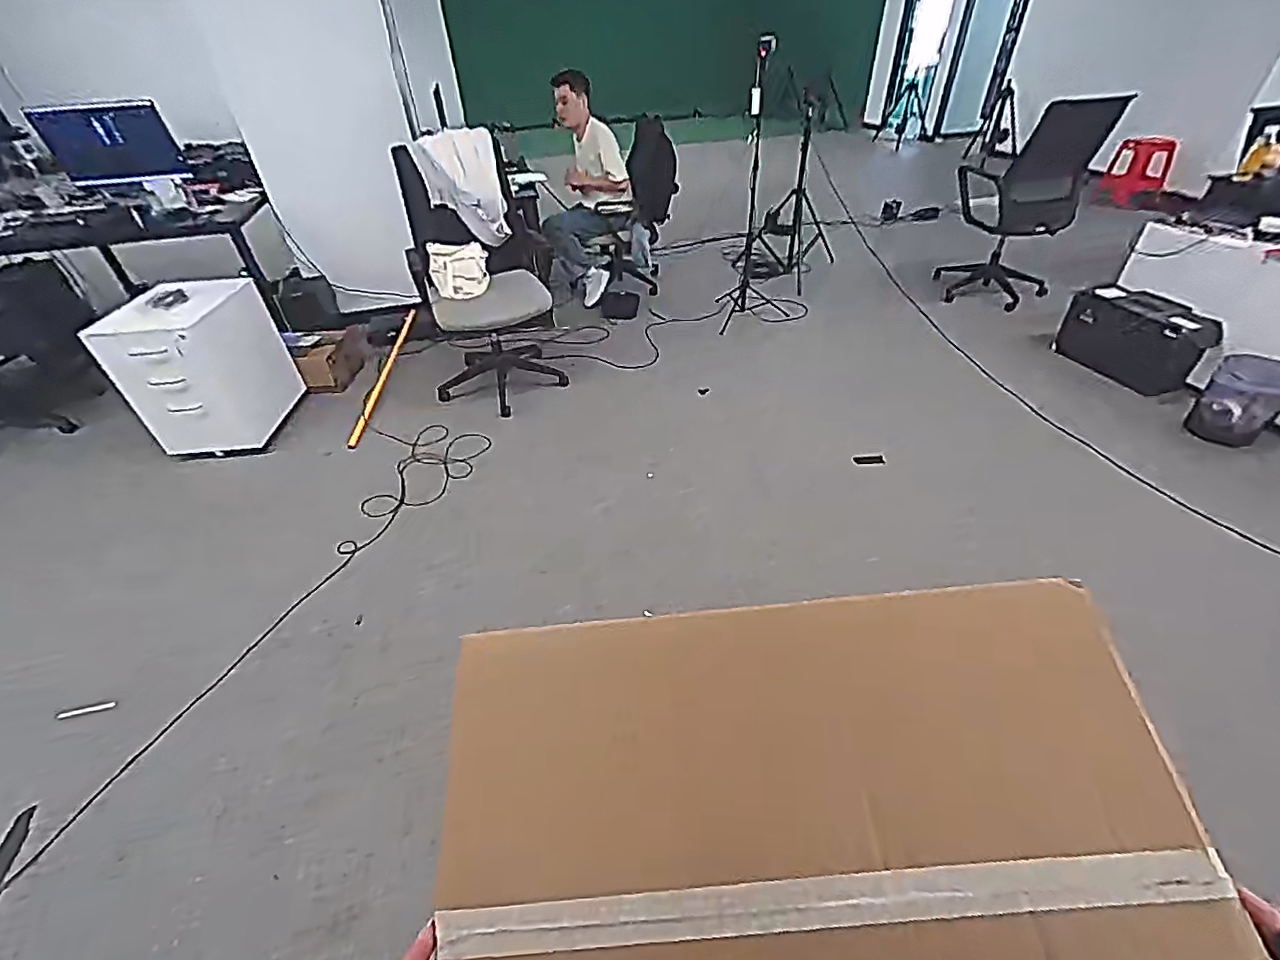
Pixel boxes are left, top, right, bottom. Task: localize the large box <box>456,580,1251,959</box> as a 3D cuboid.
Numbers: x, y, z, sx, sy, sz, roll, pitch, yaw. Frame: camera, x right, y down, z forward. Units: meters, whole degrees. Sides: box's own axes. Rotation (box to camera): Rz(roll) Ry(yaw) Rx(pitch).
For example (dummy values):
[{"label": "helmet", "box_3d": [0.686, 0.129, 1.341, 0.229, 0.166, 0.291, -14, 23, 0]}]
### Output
[{"label": "large box", "box_3d": [0.108, 0.292, 0.420, 0.408, 0.320, 0.320, -6, 62, 3]}]
